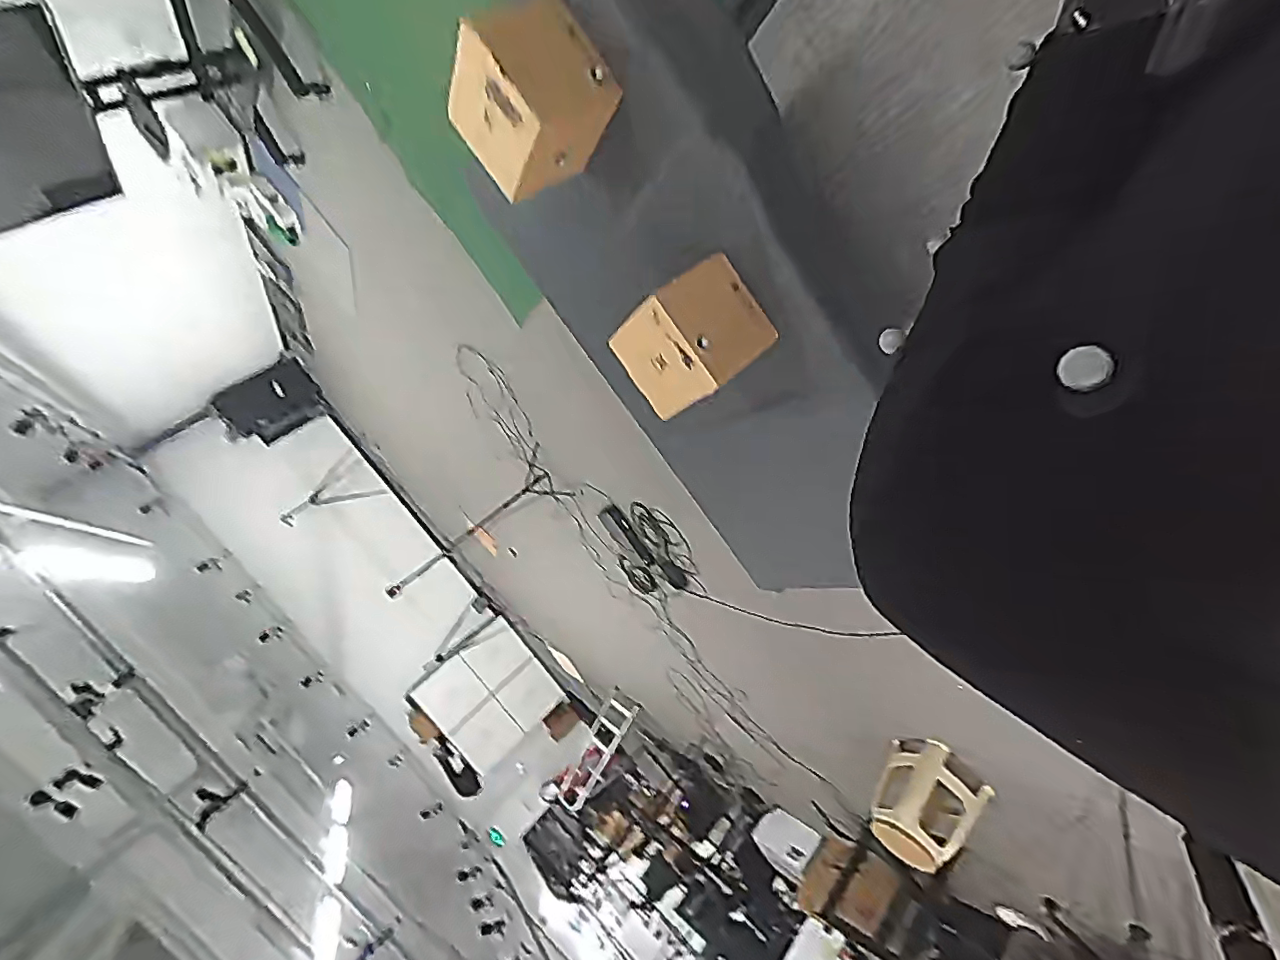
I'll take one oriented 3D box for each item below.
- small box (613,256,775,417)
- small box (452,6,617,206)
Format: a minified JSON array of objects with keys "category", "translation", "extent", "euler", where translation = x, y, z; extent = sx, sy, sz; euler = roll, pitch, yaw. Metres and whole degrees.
[{"category":"small box","translation":[0.090,-0.237,0.908],"extent":[0.168,0.176,0.179],"euler":[52,153,-7]},{"category":"small box","translation":[-0.161,-0.576,0.838],"extent":[0.168,0.176,0.179],"euler":[53,154,-9]}]
